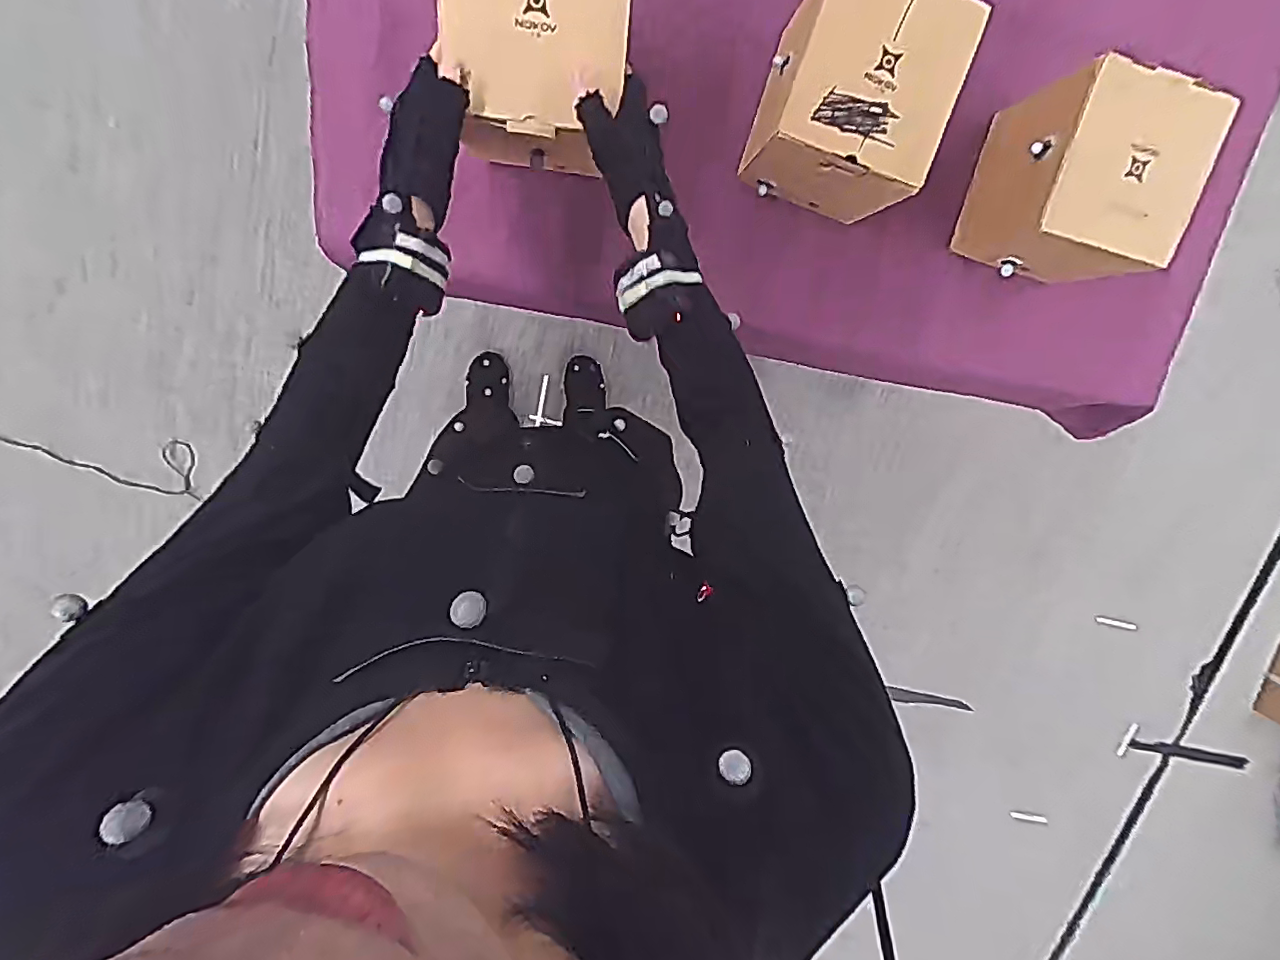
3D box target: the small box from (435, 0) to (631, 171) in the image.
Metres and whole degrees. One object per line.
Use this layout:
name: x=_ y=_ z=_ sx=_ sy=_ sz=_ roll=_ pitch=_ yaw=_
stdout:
small box: x=-0.099 y=-0.428 z=0.539 sx=0.168 sy=0.176 sz=0.179 roll=5 pitch=109 yaw=-9

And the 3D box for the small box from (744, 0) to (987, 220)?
small box: x=0.233 y=-0.422 z=0.613 sx=0.168 sy=0.176 sz=0.179 roll=17 pitch=101 yaw=-9

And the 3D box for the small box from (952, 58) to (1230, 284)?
small box: x=0.524 y=-0.354 z=0.659 sx=0.168 sy=0.176 sz=0.179 roll=12 pitch=103 yaw=-7
